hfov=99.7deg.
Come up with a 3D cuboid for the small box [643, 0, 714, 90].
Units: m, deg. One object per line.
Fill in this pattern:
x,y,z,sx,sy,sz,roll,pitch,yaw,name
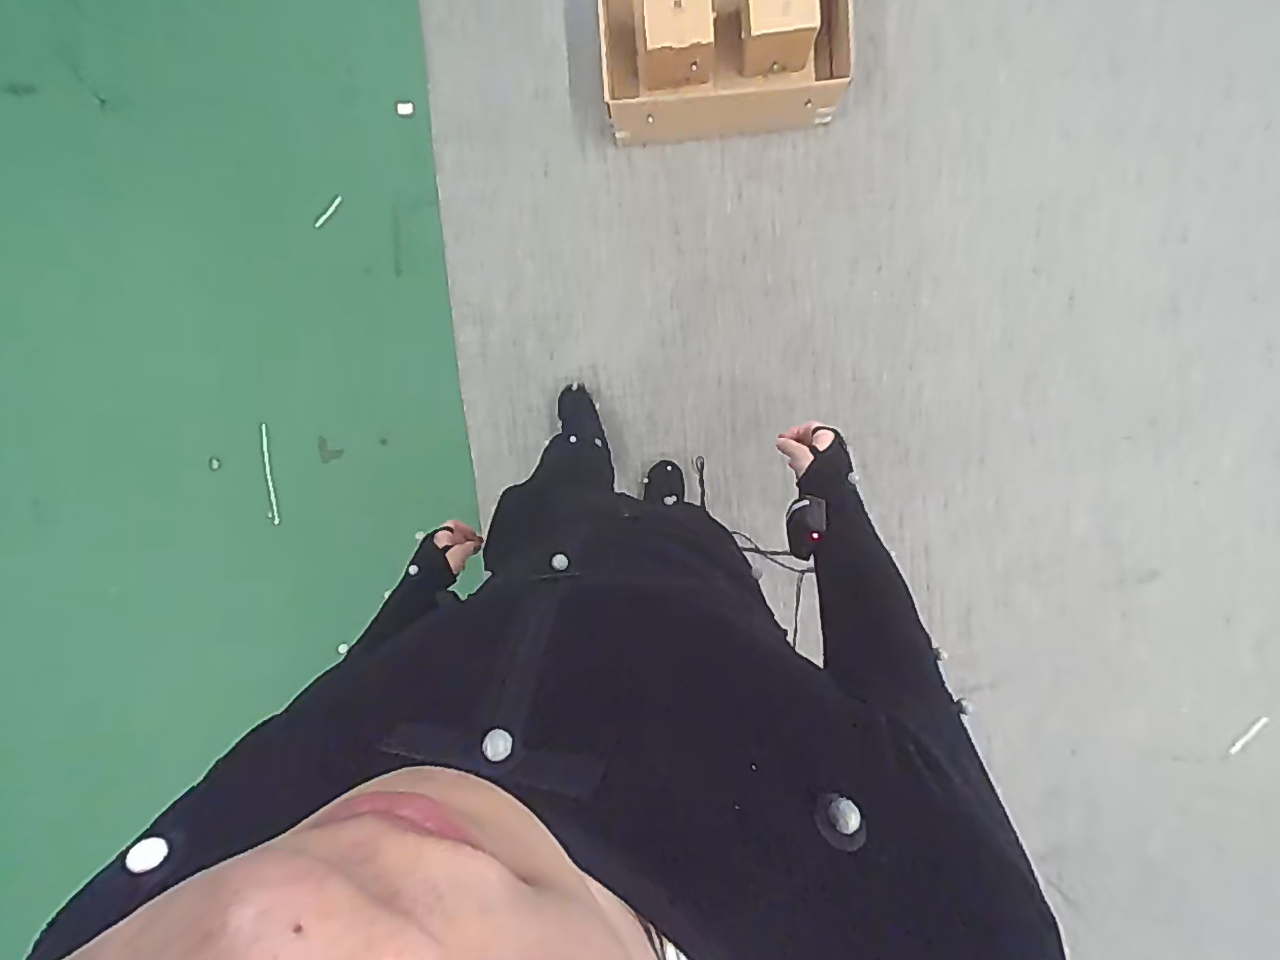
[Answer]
0.096,-1.132,1.380,0.168,0.176,0.179,-5,94,2,small box
